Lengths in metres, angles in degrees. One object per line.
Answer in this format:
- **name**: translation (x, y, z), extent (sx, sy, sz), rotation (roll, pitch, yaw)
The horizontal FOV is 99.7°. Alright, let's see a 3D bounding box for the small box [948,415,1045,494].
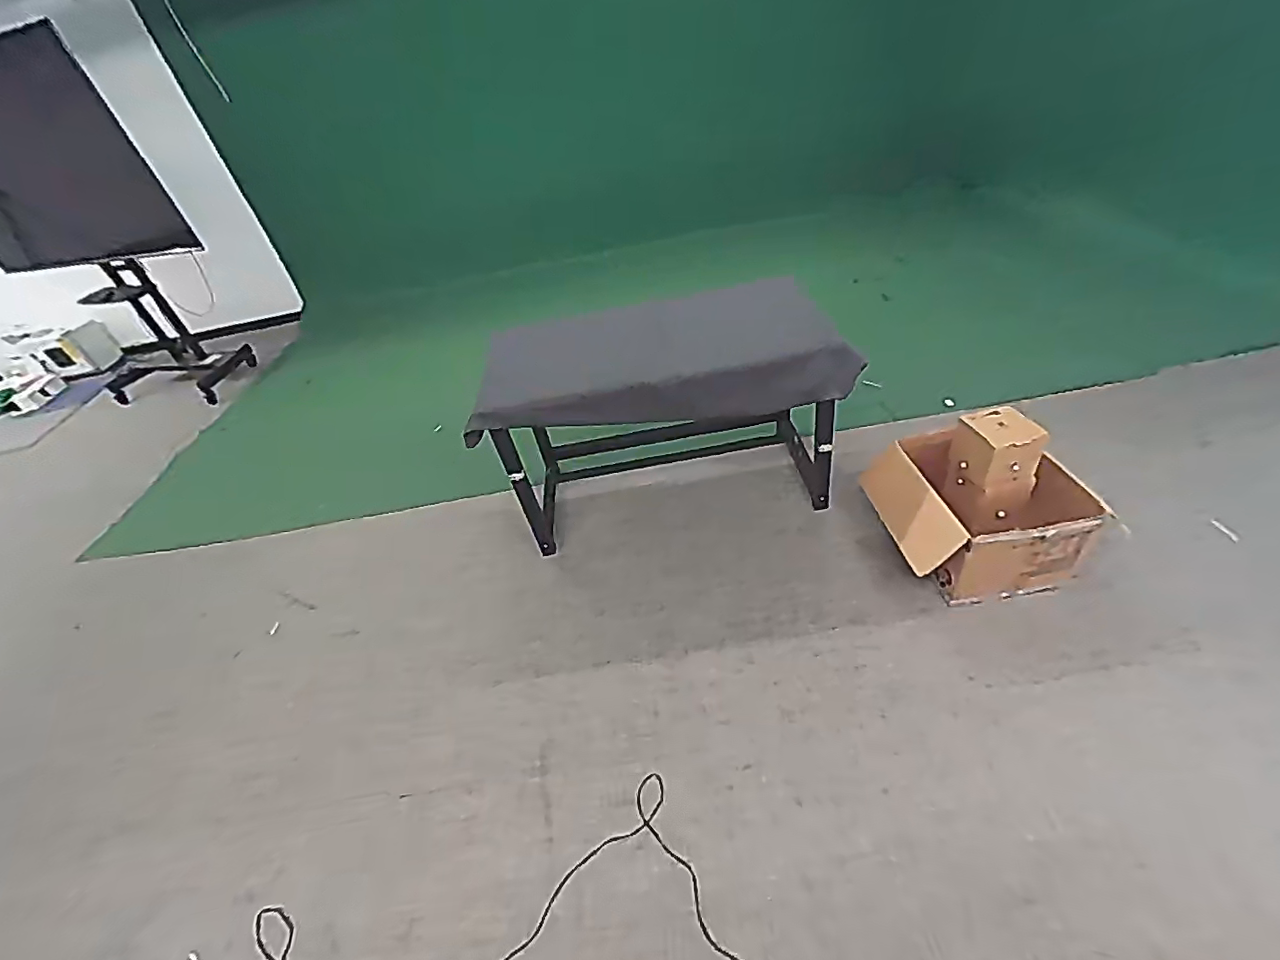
- **small box**: translation (1.096, -0.073, 1.678), extent (0.168, 0.176, 0.179), rotation (-14, 39, -3)
